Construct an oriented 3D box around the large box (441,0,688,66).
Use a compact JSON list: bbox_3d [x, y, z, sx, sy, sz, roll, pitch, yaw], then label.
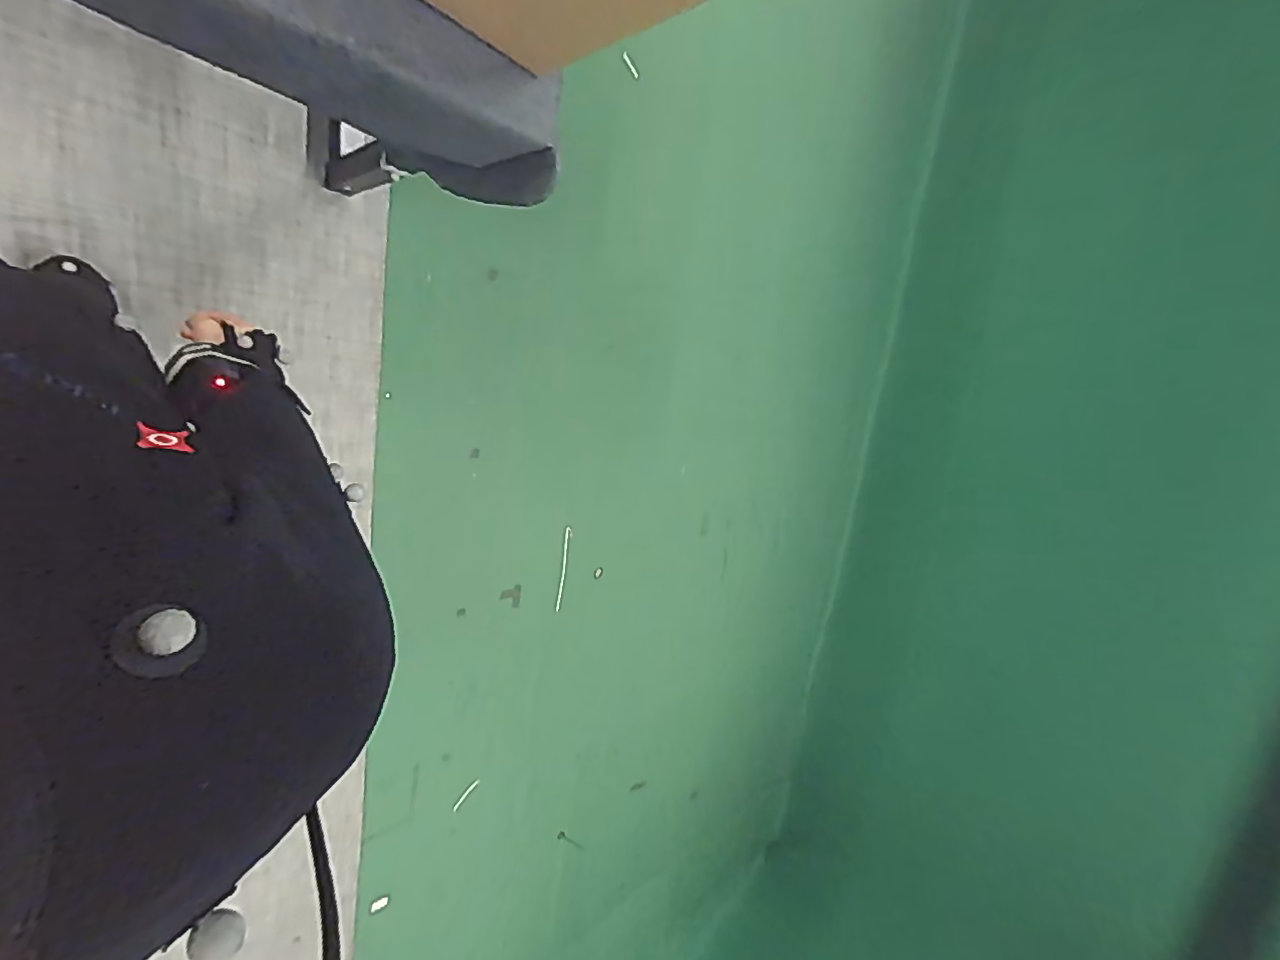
[{"bbox_3d":[-0.127,-0.633,0.423,0.408,0.320,0.320,-1,105,-48],"label":"large box"}]
